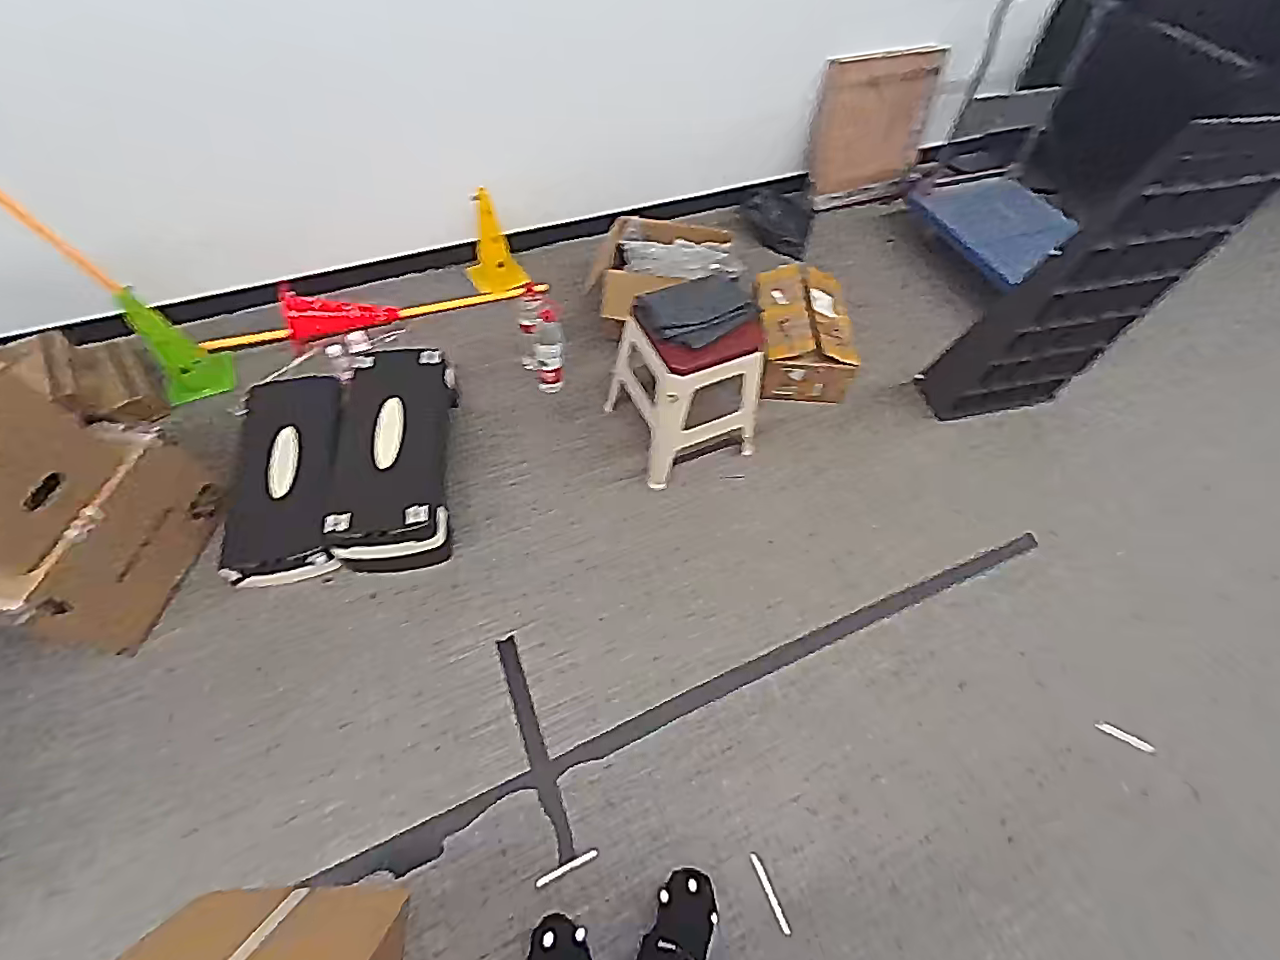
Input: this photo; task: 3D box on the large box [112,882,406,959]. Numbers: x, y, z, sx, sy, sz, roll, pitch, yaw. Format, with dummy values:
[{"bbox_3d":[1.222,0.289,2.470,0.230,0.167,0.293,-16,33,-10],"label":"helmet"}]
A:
[{"bbox_3d":[-0.511,0.747,0.621,0.320,0.408,0.320,4,80,-3],"label":"large box"}]
